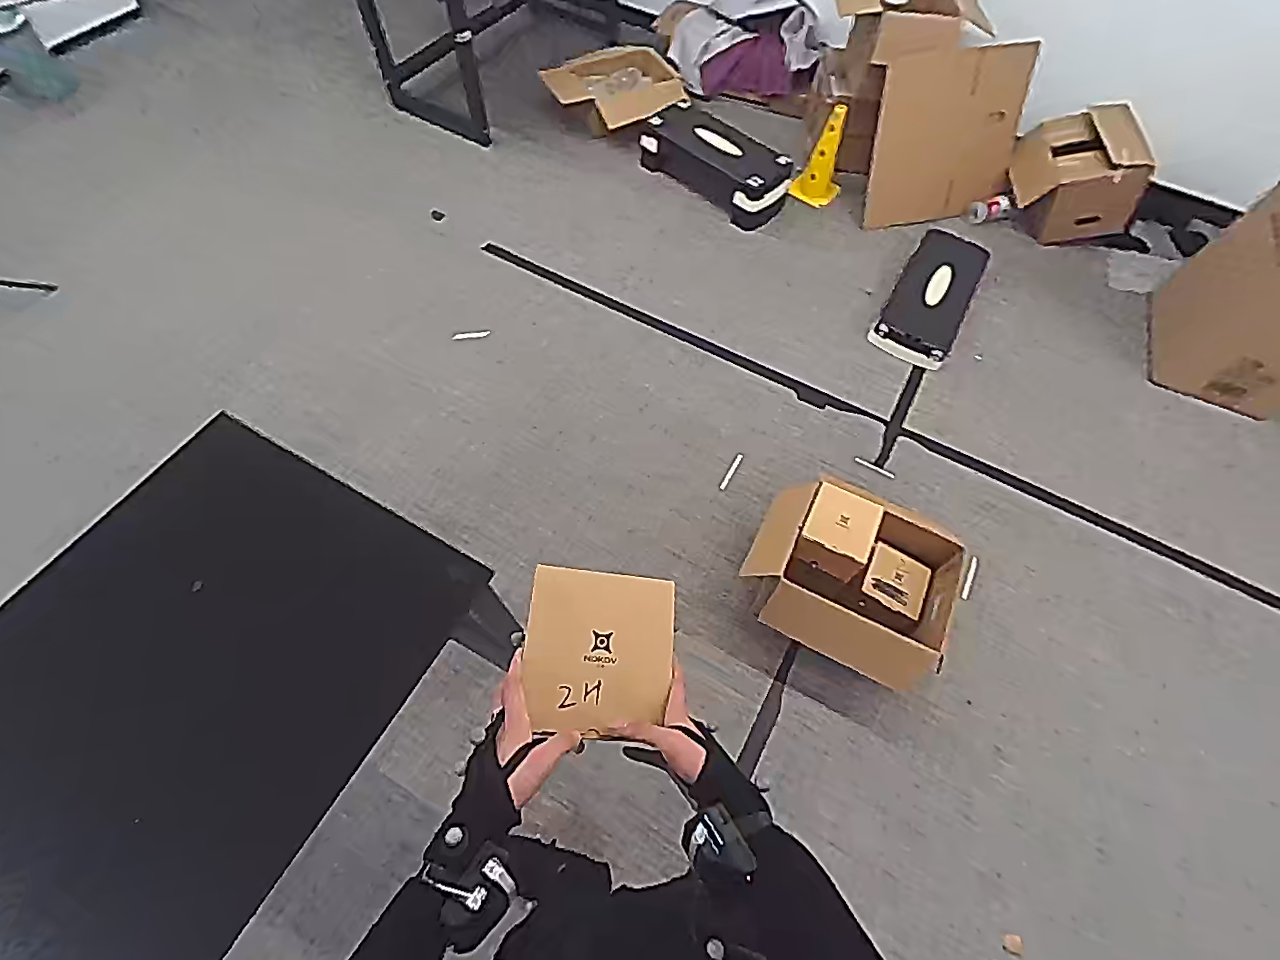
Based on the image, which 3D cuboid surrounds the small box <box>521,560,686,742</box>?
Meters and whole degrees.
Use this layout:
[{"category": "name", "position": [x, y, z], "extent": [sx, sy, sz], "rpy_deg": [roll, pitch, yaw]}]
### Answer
[{"category": "small box", "position": [-0.049, 0.213, 0.653], "extent": [0.168, 0.176, 0.179], "rpy_deg": [9, 64, -9]}]
